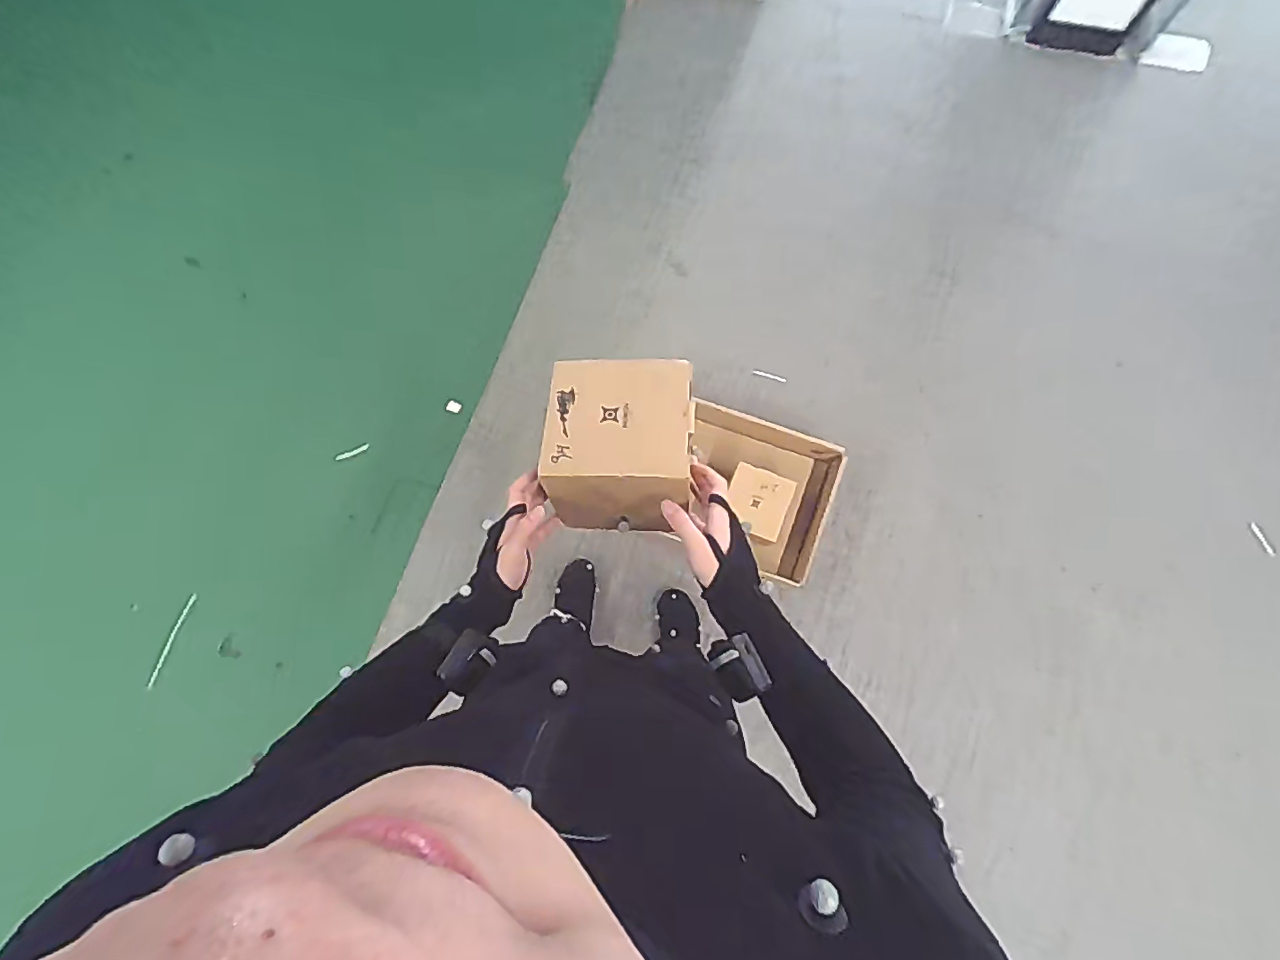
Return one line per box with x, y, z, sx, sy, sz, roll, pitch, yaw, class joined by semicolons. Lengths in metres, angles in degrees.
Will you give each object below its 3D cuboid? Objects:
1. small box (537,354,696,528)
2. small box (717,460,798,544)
-0.021;-0.043;0.702;0.179;0.176;0.168;2;63;4;small box
0.321;0.067;1.503;0.168;0.176;0.179;22;82;10;small box
